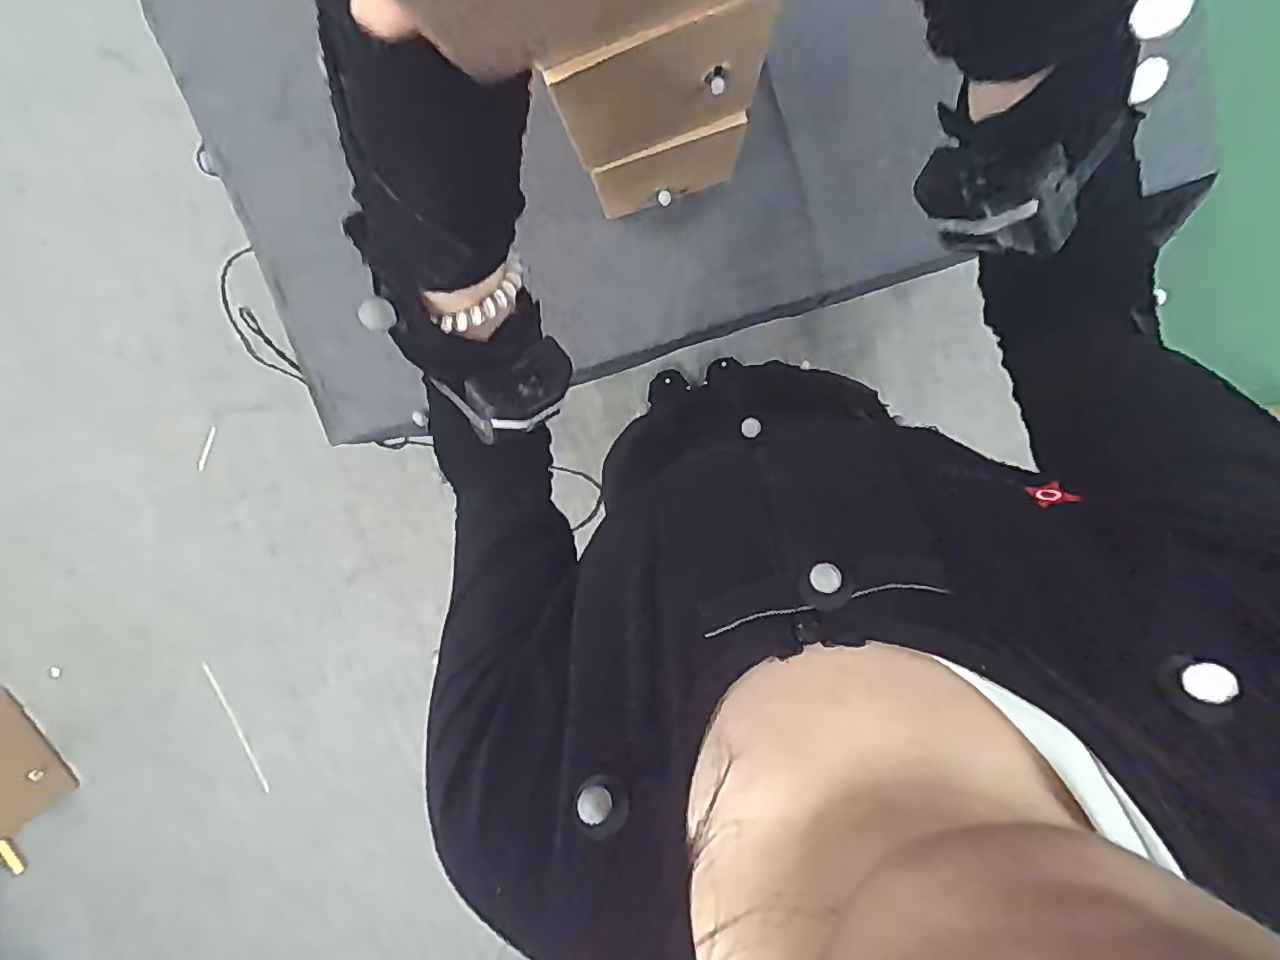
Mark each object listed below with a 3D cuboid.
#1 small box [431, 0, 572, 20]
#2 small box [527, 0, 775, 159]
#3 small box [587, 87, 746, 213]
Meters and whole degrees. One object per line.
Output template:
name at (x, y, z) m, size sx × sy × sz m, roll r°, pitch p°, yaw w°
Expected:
small box at (-0.010, -0.211, 0.081) m, size 0.168 × 0.176 × 0.179 m, roll -20°, pitch 118°, yaw 5°
small box at (-0.006, -0.403, 0.440) m, size 0.179 × 0.176 × 0.168 m, roll -17°, pitch 98°, yaw 6°
small box at (0.008, -0.430, 0.600) m, size 0.168 × 0.176 × 0.179 m, roll -15°, pitch 100°, yaw 6°
